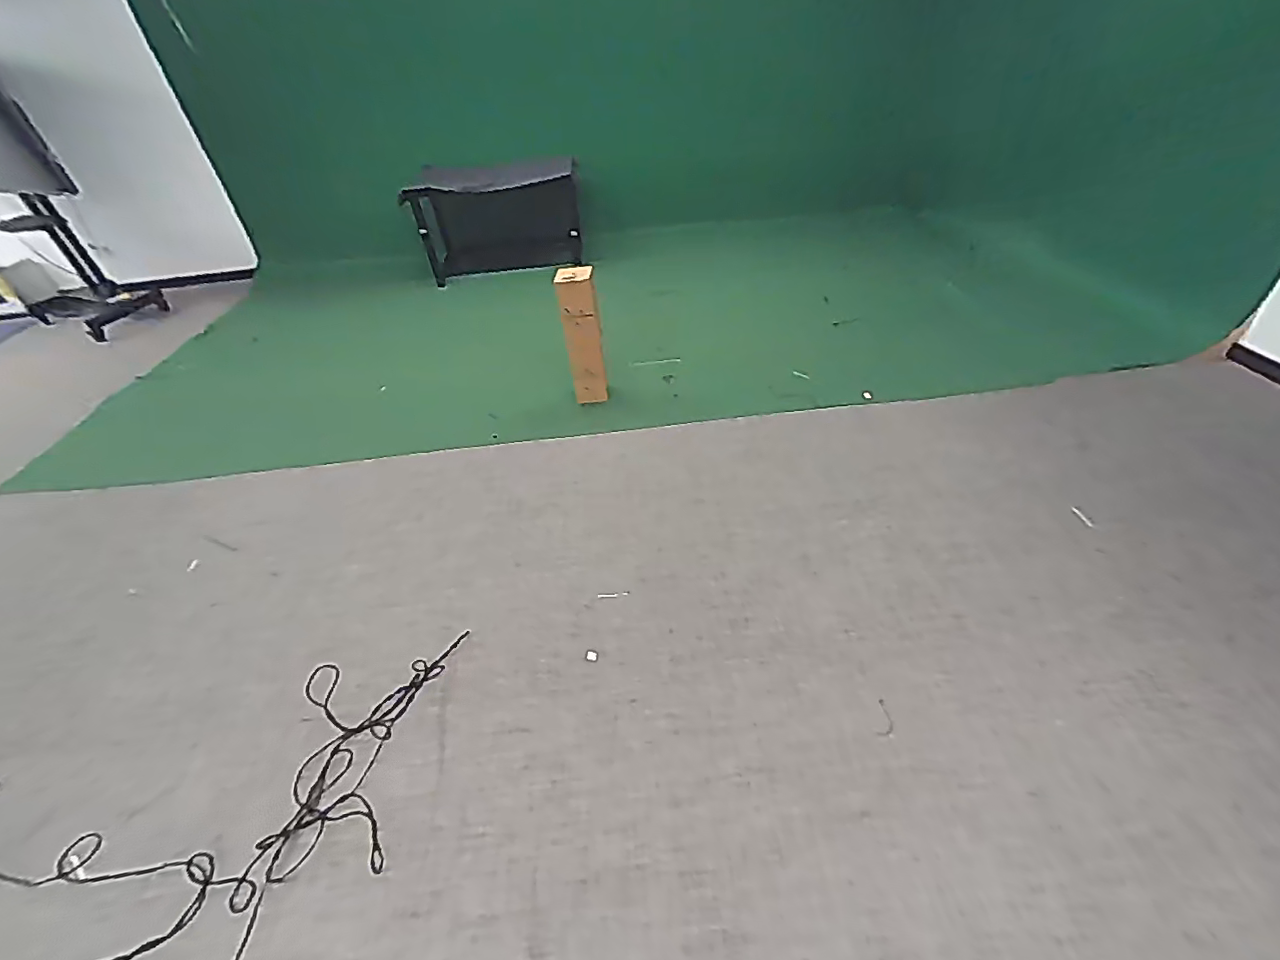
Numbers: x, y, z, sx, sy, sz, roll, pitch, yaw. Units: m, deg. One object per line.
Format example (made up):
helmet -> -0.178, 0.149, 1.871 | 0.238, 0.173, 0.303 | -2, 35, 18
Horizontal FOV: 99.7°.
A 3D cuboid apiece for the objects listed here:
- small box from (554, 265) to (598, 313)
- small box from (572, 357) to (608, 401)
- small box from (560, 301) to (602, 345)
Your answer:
small box -> -0.296, -0.897, 2.552 | 0.168, 0.176, 0.179 | -3, 40, 5
small box -> -0.262, -0.534, 2.884 | 0.168, 0.176, 0.179 | -6, 40, 1
small box -> -0.287, -0.780, 2.667 | 0.179, 0.176, 0.168 | -4, 41, 3
